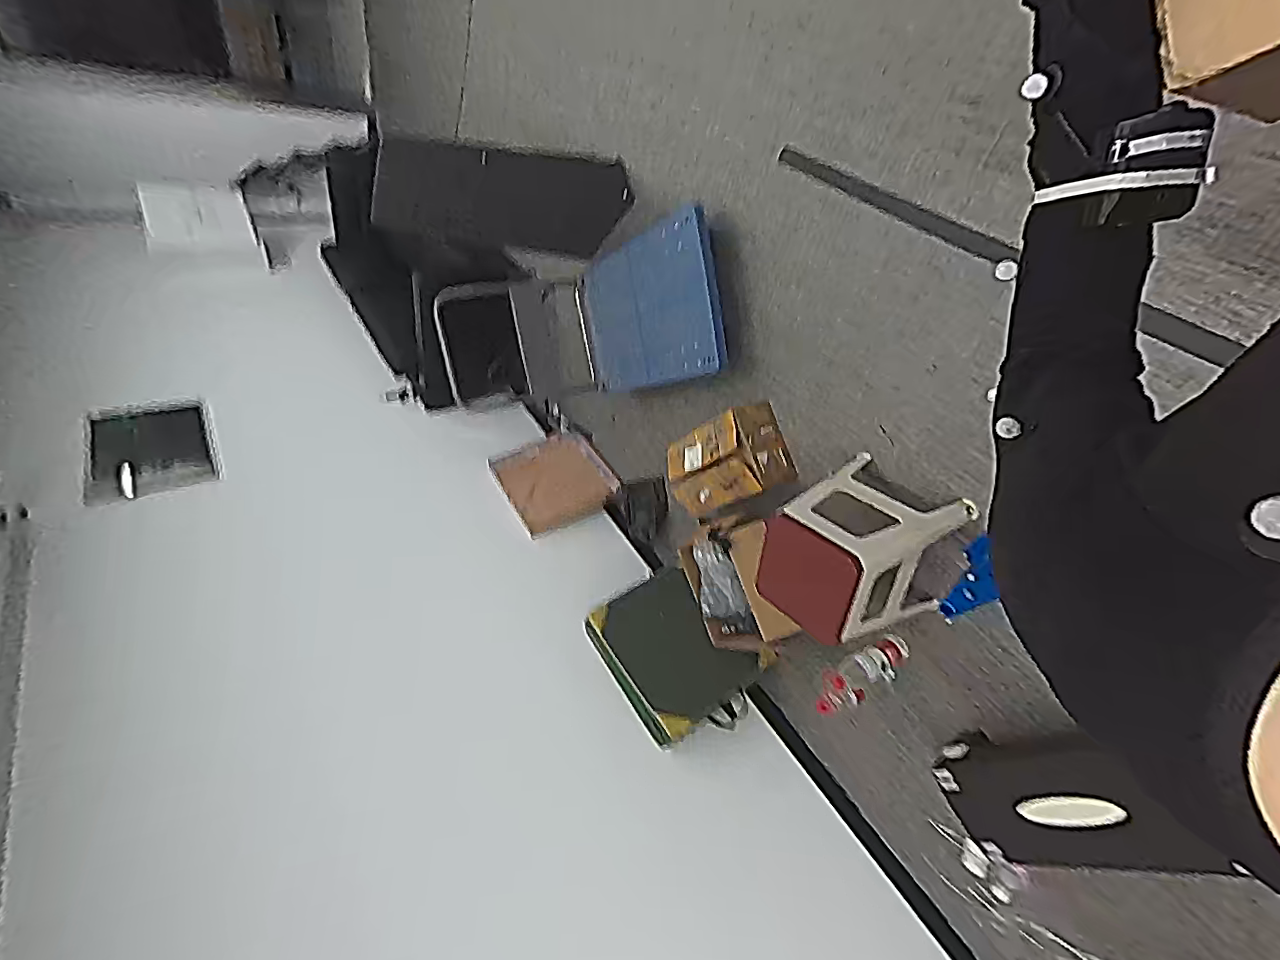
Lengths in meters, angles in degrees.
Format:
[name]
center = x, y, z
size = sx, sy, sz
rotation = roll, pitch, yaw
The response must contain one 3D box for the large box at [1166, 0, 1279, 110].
[large box]
center = 0.536, -0.452, 0.242
size = 0.408, 0.320, 0.320
rotation = -1, 106, 58
